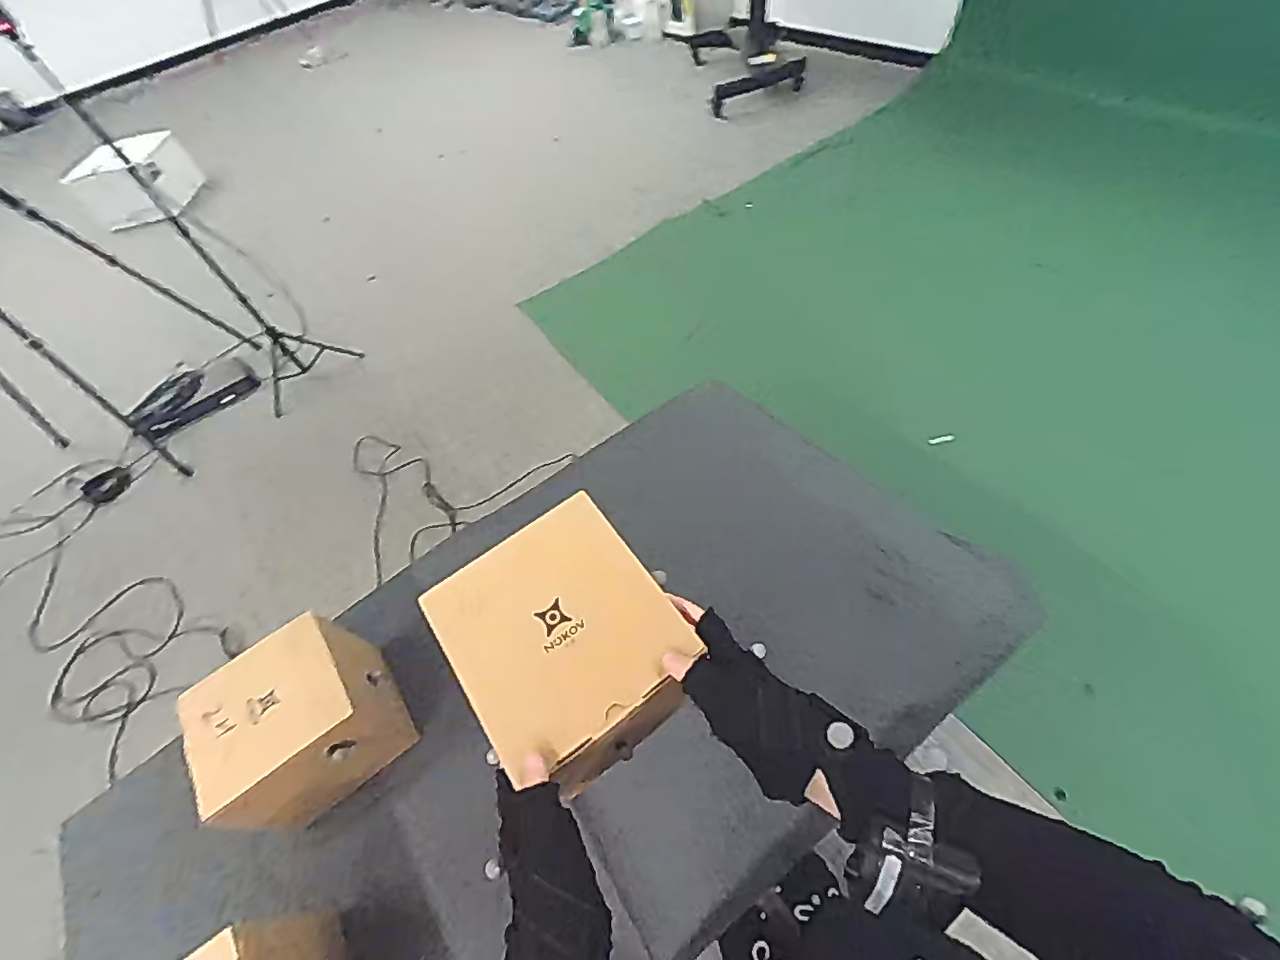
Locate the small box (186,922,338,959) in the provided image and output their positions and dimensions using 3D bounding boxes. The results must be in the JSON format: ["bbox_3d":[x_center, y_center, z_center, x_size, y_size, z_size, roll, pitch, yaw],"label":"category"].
[{"bbox_3d":[-0.398,0.562,0.509,0.179,0.176,0.168,-33,56,-14],"label":"small box"}]

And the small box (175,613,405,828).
[{"bbox_3d":[-0.431,0.309,0.693,0.179,0.176,0.168,-36,57,-15],"label":"small box"}]

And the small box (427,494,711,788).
[{"bbox_3d":[-0.056,0.151,0.490,0.168,0.176,0.179,-33,63,-14],"label":"small box"}]
